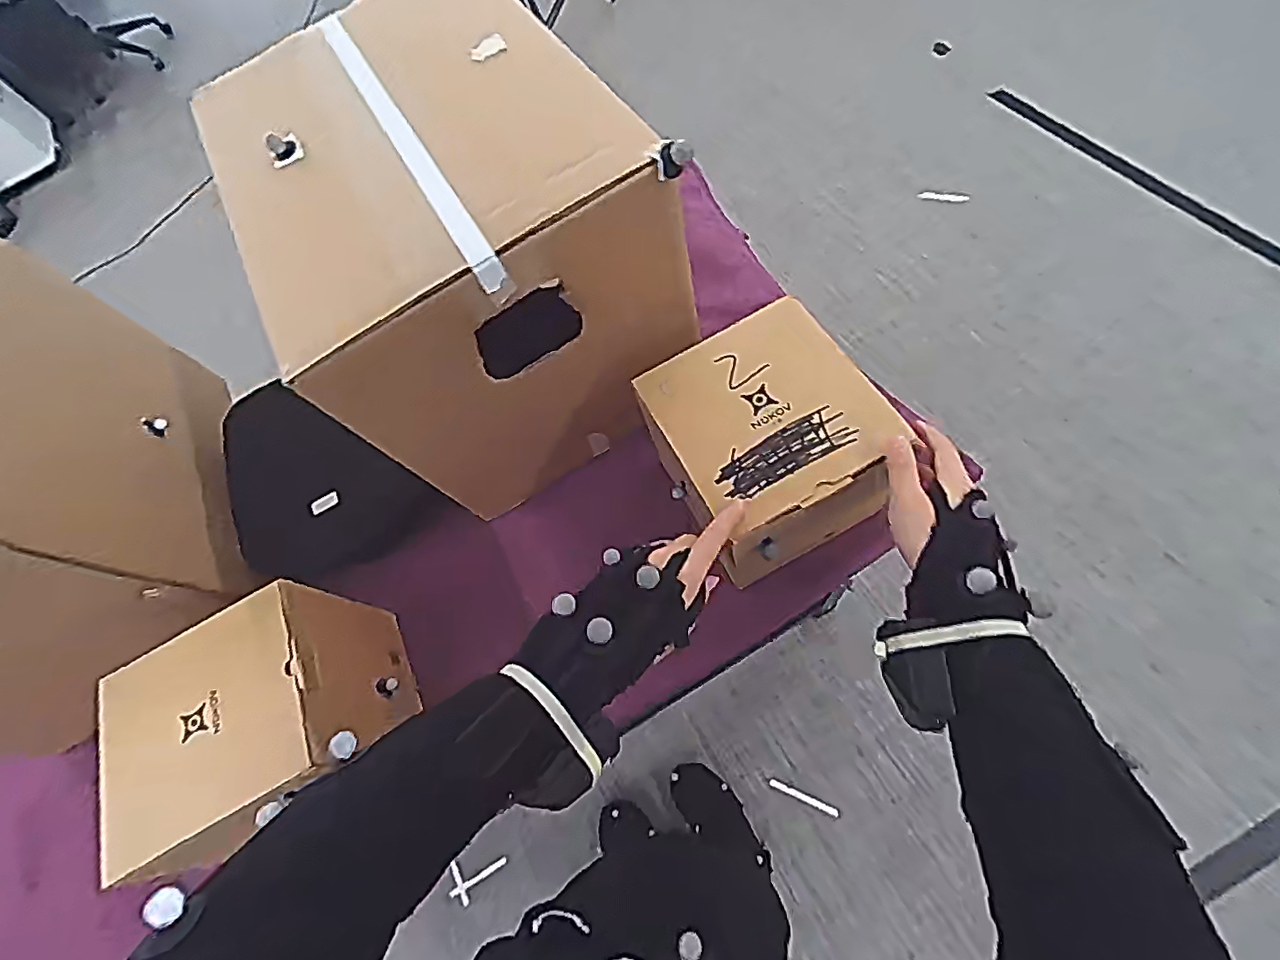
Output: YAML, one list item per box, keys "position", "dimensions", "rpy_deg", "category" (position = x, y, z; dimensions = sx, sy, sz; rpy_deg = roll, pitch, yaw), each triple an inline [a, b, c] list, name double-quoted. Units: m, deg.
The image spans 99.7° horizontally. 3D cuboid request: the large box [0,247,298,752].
- position: [-0.661, 0.028, 0.581]
  dimensions: [0.320, 0.320, 0.408]
  rpy_deg: [-34, 67, -4]
  category: "large box"
